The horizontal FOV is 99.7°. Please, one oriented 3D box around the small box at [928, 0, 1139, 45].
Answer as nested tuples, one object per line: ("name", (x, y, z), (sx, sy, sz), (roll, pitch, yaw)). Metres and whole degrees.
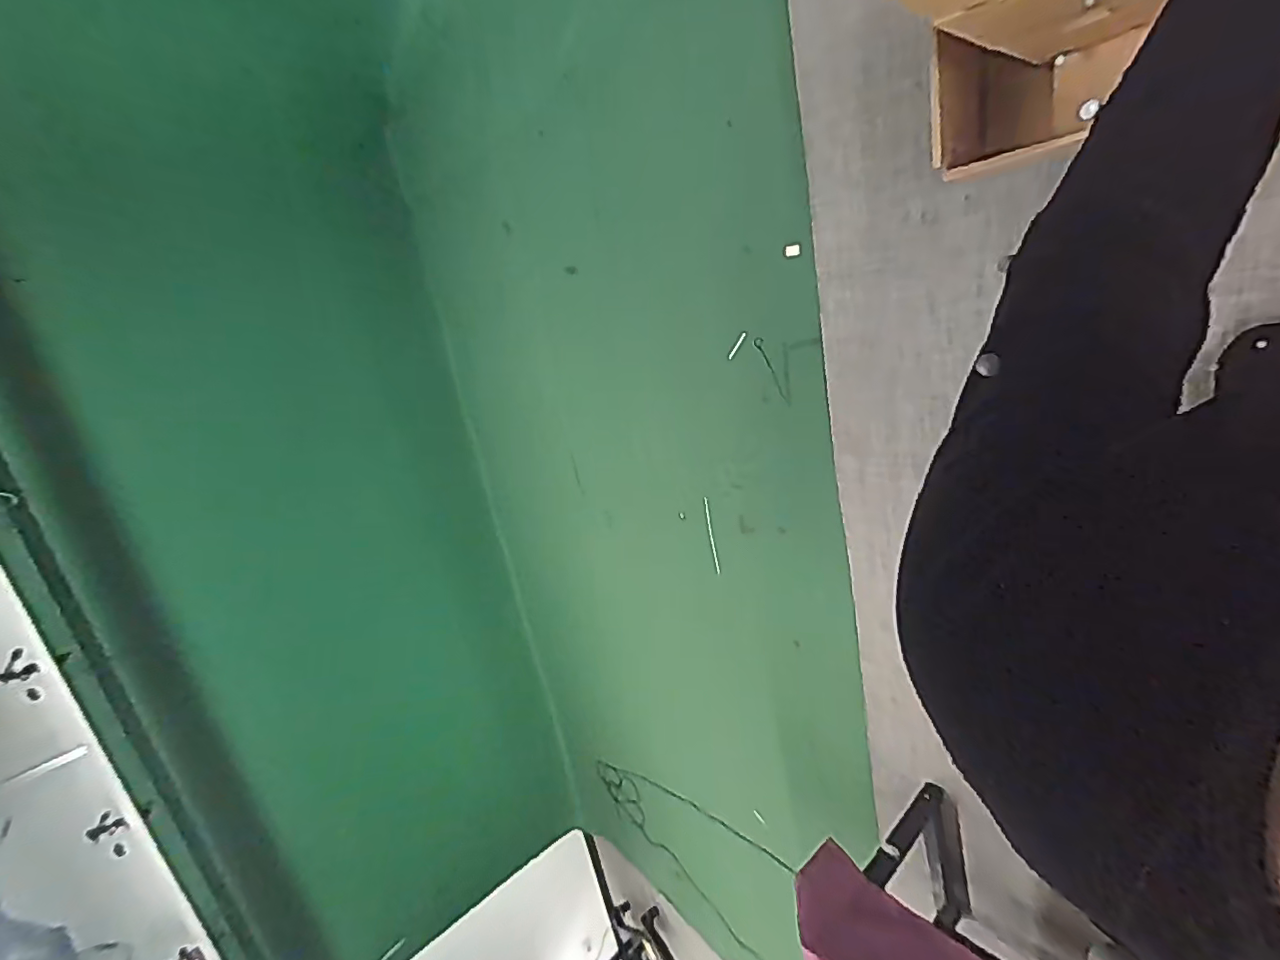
("small box", (0.407, -0.560, 0.527), (0.168, 0.176, 0.179), (17, 120, 47))
